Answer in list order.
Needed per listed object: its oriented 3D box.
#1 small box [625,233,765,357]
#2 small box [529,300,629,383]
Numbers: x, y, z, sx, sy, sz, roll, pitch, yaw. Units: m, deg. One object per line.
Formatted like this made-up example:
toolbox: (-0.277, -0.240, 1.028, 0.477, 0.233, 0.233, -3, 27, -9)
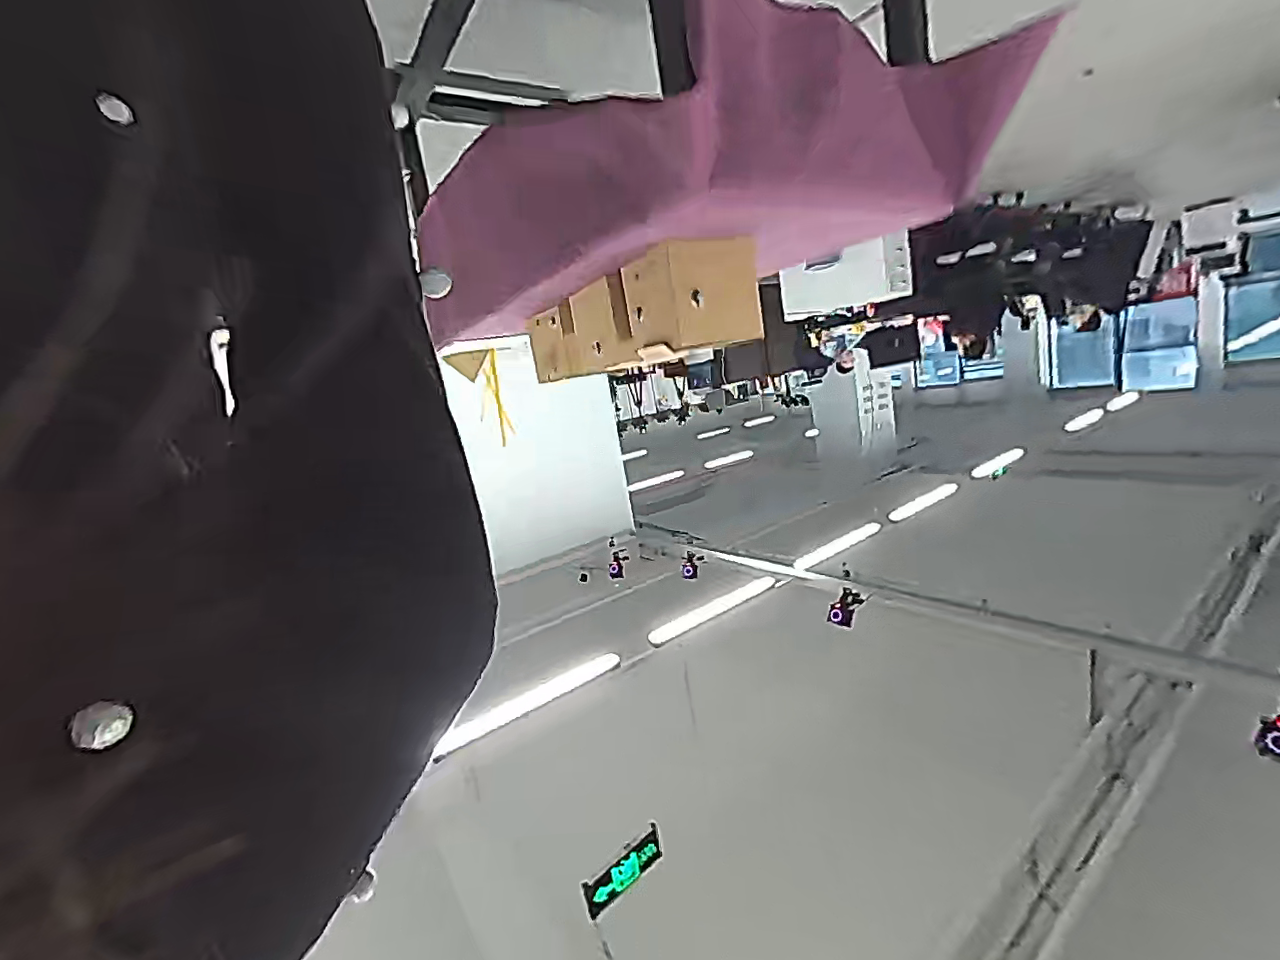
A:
small box: (0.090, -0.321, 0.951, 0.179, 0.176, 0.168, -16, -168, -26)
small box: (-0.157, -0.346, 1.353, 0.179, 0.176, 0.168, -18, -167, -35)
